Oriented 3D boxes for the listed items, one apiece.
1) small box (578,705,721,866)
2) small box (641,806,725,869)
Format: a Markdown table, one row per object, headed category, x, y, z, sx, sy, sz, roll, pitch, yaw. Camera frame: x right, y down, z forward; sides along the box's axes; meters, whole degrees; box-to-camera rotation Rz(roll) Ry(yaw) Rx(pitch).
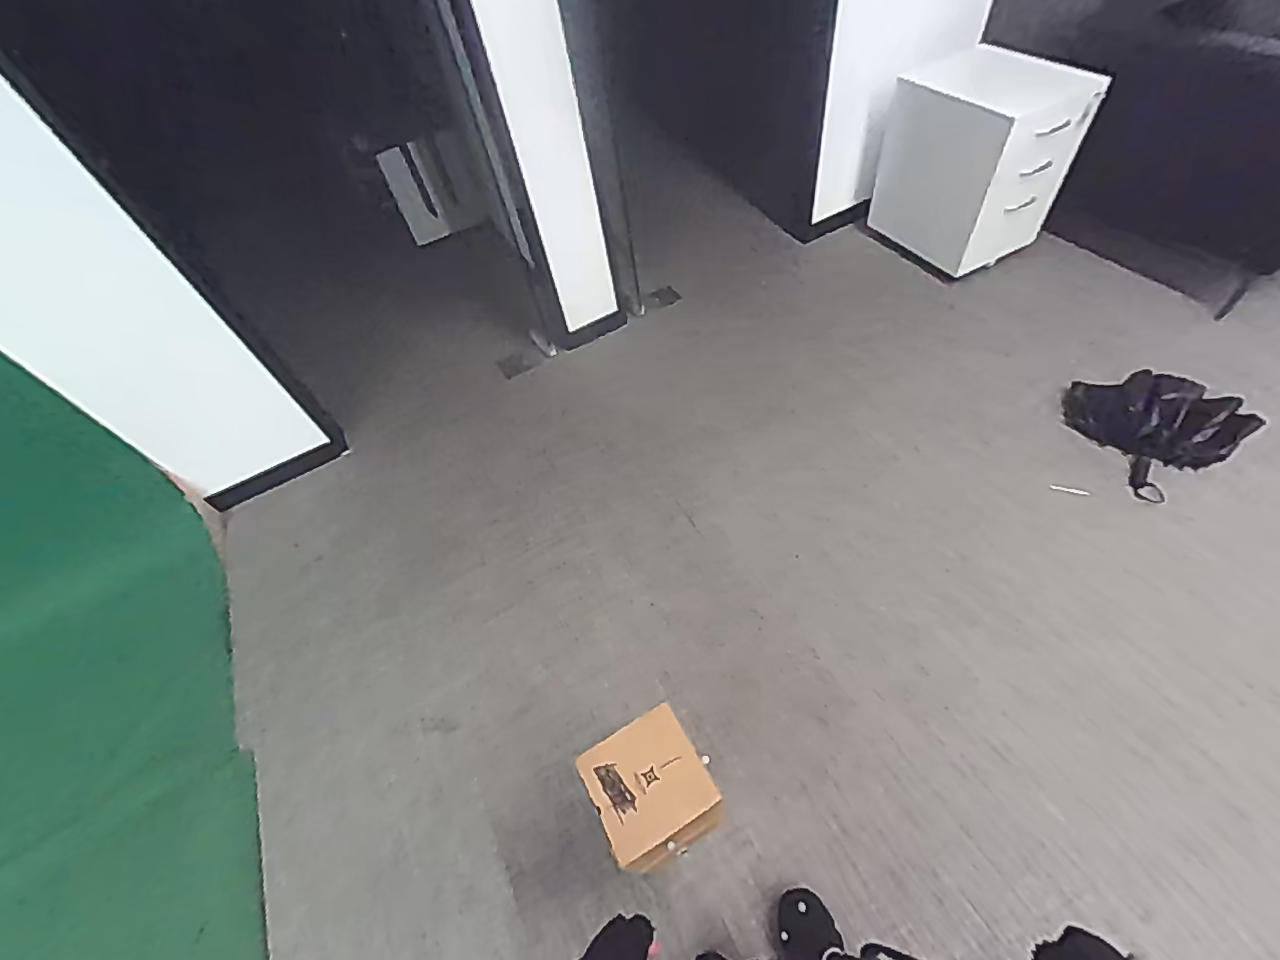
| category | x | y | z | sx | sy | sz | roll | pitch | yaw |
| --- | --- | --- | --- | --- | --- | --- | --- | --- | --- |
| small box | 0.024 | 0.516 | 0.908 | 0.179 | 0.176 | 0.168 | -29 | 55 | -10 |
| small box | 0.045 | 0.602 | 1.026 | 0.168 | 0.176 | 0.179 | -29 | 56 | -10 |
